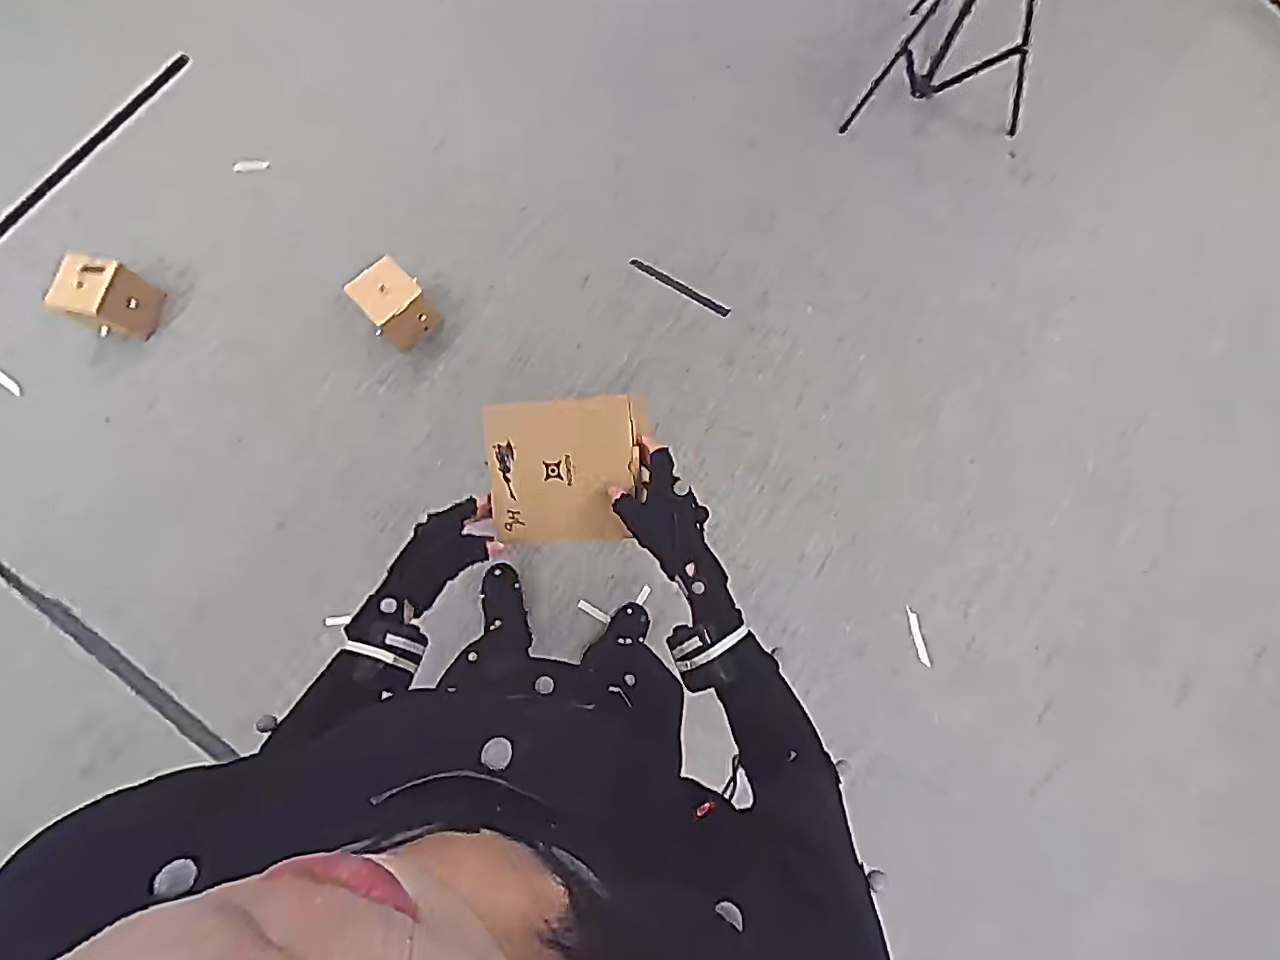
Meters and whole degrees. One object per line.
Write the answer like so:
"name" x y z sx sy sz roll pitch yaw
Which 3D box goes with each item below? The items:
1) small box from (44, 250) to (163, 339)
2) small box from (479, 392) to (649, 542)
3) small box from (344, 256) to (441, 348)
"small box" -1.609 -0.556 1.636 0.168 0.176 0.179 11 78 3
"small box" -0.081 -0.022 0.680 0.179 0.176 0.168 -3 95 7
"small box" -0.736 -0.526 1.633 0.168 0.176 0.179 -42 79 -10
